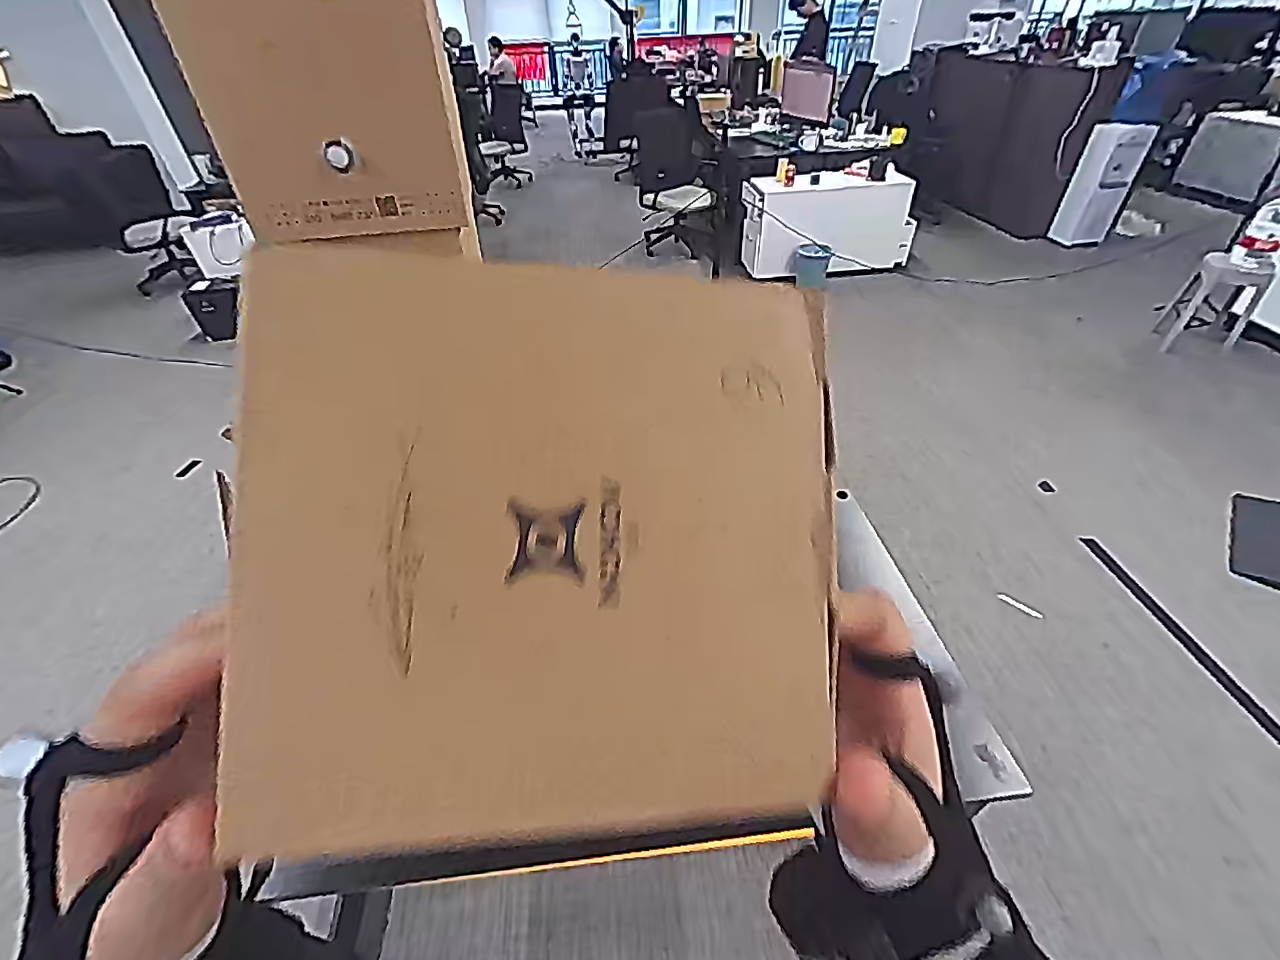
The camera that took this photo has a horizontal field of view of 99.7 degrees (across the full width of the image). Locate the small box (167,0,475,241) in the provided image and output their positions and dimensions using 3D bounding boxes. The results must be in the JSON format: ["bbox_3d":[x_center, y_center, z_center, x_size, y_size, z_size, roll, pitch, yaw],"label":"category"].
[{"bbox_3d":[-0.242,-0.313,0.459,0.168,0.176,0.179,-10,39,-10],"label":"small box"}]

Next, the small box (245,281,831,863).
[{"bbox_3d":[-0.036,0.028,0.244,0.179,0.168,0.176,0,-3,-8],"label":"small box"}]

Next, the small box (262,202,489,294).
[{"bbox_3d":[-0.247,-0.189,0.568,0.168,0.176,0.179,-8,40,-8],"label":"small box"}]
